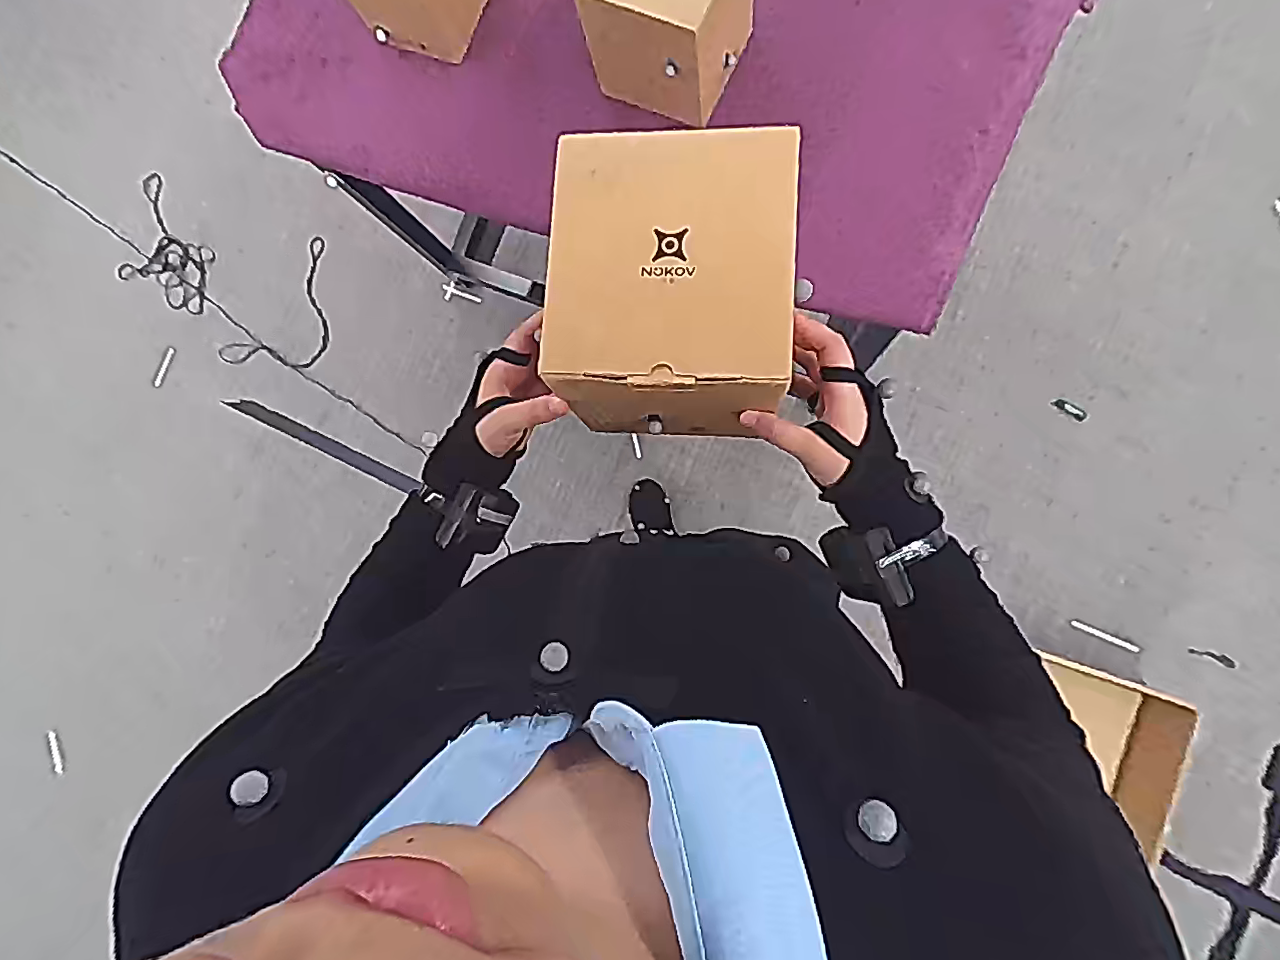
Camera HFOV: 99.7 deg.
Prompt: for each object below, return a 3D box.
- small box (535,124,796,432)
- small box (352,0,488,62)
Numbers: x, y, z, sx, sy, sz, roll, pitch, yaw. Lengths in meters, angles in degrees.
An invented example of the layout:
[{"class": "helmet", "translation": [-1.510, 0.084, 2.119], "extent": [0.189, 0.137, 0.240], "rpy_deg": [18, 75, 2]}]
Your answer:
[{"class": "small box", "translation": [0.025, -0.145, 0.435], "extent": [0.168, 0.176, 0.179], "rpy_deg": [3, 83, 7]}, {"class": "small box", "translation": [-0.345, -0.787, 0.815], "extent": [0.168, 0.176, 0.179], "rpy_deg": [23, 90, 10]}]
